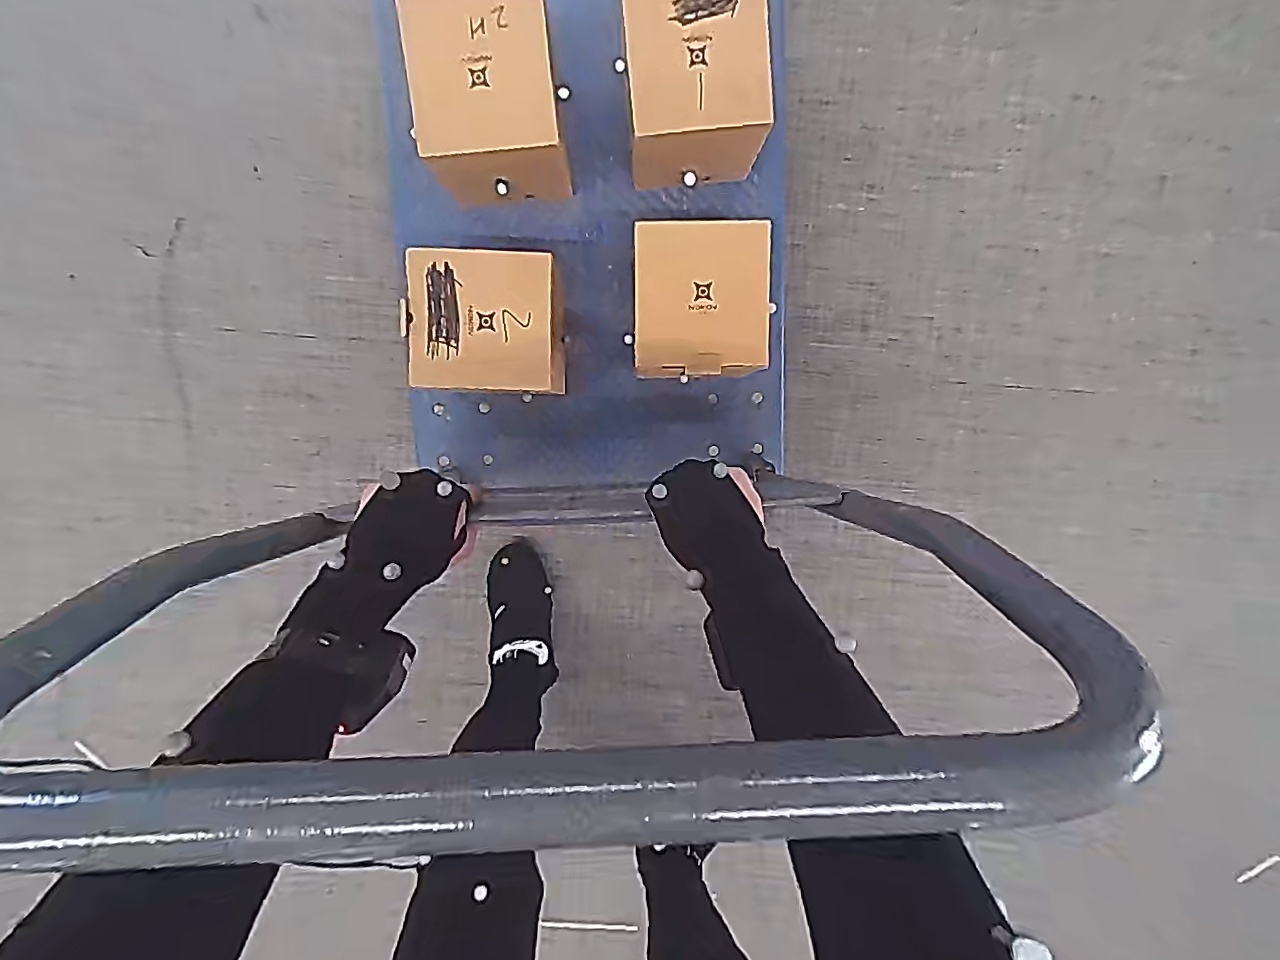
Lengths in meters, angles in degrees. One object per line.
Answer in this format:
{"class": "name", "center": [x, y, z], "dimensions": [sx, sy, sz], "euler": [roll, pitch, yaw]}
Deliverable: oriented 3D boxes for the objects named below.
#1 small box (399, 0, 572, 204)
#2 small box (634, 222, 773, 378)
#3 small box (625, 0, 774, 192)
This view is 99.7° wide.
{"class": "small box", "center": [-0.183, -0.474, 0.696], "dimensions": [0.168, 0.176, 0.179], "euler": [-5, 98, -1]}
{"class": "small box", "center": [0.076, -0.232, 0.735], "dimensions": [0.168, 0.176, 0.179], "euler": [-1, 98, -1]}
{"class": "small box", "center": [0.067, -0.500, 0.696], "dimensions": [0.168, 0.176, 0.179], "euler": [-5, 99, 1]}
